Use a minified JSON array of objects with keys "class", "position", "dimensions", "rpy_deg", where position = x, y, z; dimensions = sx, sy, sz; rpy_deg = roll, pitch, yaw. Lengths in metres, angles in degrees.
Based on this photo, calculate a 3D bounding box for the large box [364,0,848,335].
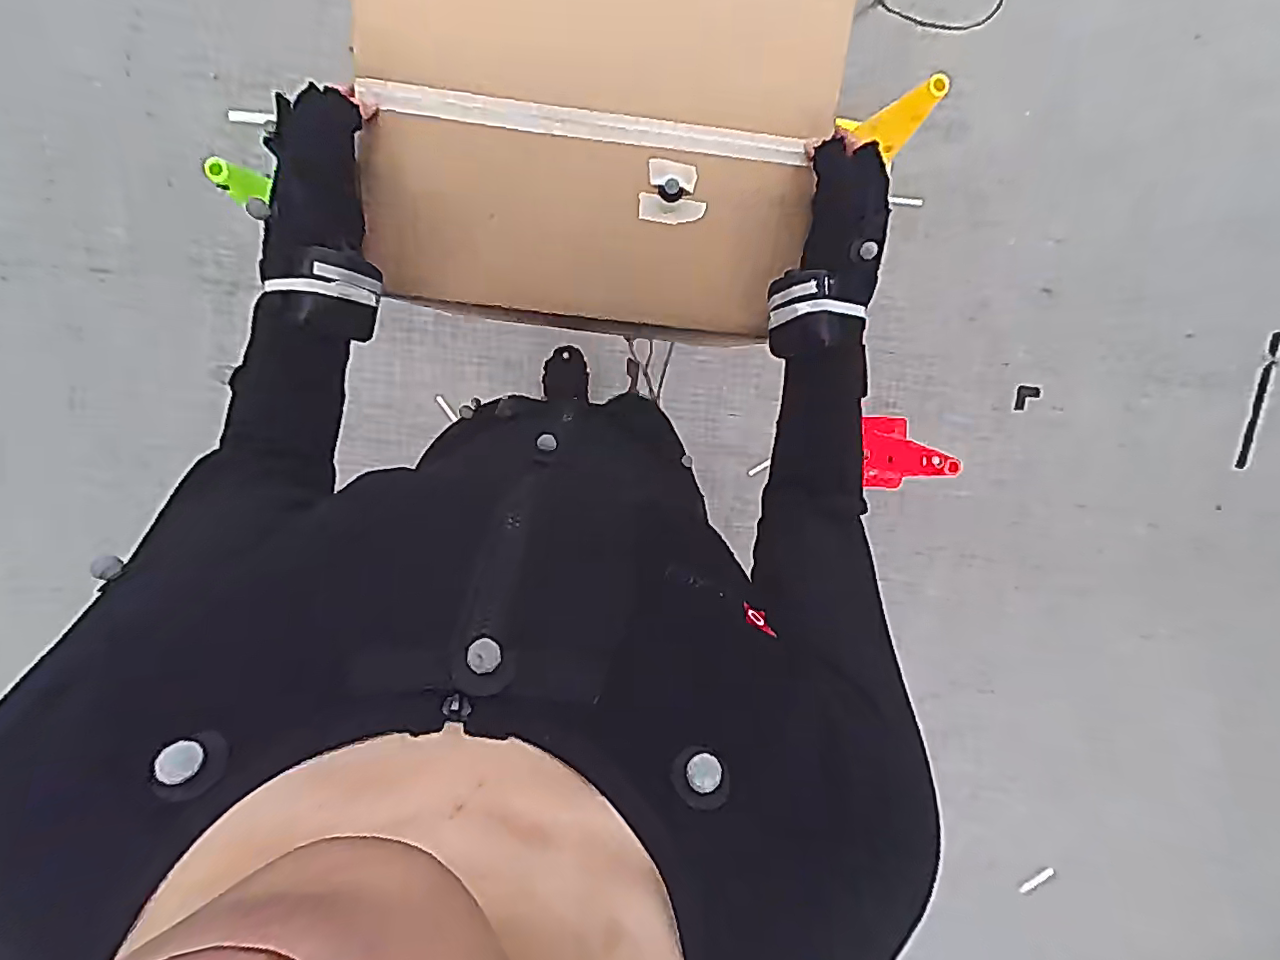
[{"class":"large box","position":[-0.043,-0.346,0.609],"dimensions":[0.408,0.320,0.320],"rpy_deg":[5,103,-5]}]

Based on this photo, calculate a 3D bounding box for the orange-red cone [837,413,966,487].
[{"class":"orange-red cone","position":[0.661,-0.061,1.328],"dimensions":[0.198,0.360,0.199],"rpy_deg":[2,97,-6]}]

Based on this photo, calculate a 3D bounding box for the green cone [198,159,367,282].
[{"class":"green cone","position":[-0.772,-0.585,1.136],"dimensions":[0.202,0.368,0.200],"rpy_deg":[-32,99,2]}]
